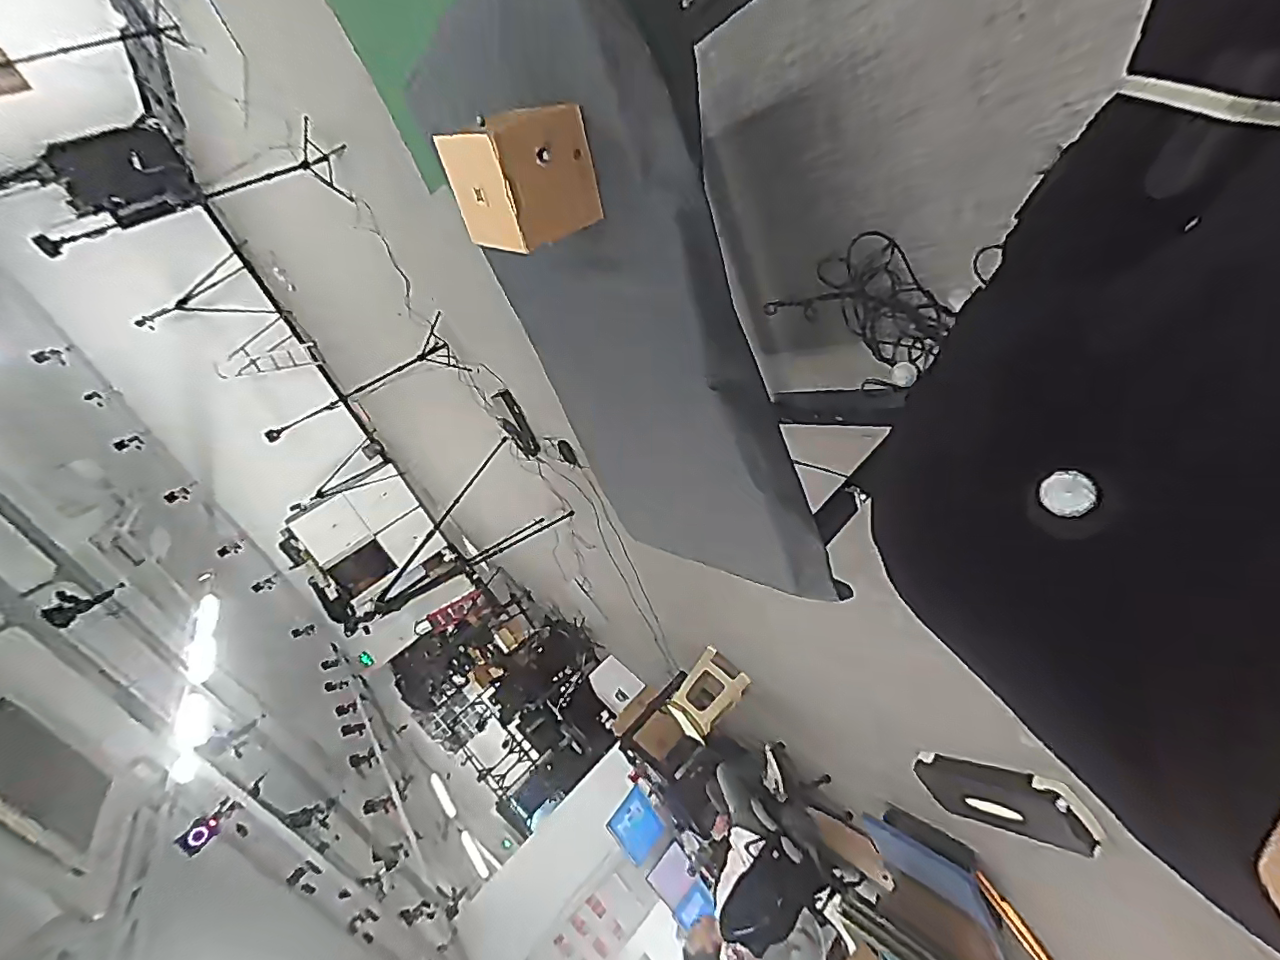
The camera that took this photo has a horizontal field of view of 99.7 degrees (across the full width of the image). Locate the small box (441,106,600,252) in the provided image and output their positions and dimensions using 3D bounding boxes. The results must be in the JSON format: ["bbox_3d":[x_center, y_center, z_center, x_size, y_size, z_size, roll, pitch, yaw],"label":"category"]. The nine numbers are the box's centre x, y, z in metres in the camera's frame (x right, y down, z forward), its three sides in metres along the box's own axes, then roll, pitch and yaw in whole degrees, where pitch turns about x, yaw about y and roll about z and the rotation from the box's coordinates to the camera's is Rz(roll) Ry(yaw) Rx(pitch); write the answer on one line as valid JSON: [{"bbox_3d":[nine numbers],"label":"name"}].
[{"bbox_3d":[-0.182,-0.491,0.879,0.179,0.176,0.168,30,145,40],"label":"small box"}]
